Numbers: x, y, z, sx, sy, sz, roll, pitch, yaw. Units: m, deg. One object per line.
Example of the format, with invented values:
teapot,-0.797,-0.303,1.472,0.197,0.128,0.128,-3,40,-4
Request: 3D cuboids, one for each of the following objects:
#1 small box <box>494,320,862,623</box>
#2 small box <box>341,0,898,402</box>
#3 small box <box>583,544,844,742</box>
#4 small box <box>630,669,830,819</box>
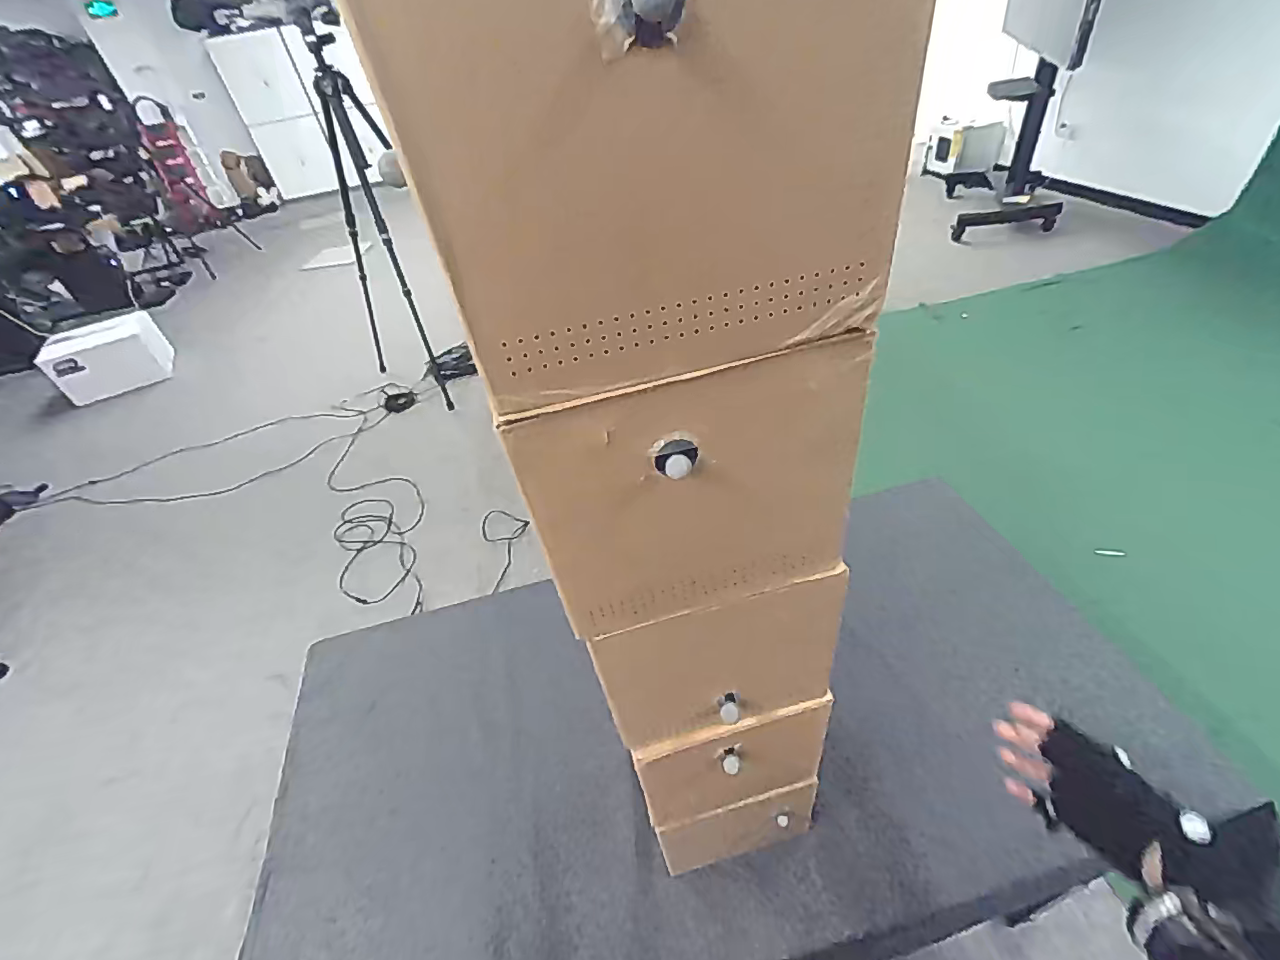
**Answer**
small box,0.015,-0.033,0.351,0.179,0.176,0.168,-14,41,-5
small box,-0.004,-0.155,0.244,0.179,0.176,0.168,-14,42,-3
small box,0.044,0.090,0.456,0.179,0.176,0.168,-13,41,-4
small box,0.070,0.215,0.559,0.179,0.176,0.168,-15,41,-5
